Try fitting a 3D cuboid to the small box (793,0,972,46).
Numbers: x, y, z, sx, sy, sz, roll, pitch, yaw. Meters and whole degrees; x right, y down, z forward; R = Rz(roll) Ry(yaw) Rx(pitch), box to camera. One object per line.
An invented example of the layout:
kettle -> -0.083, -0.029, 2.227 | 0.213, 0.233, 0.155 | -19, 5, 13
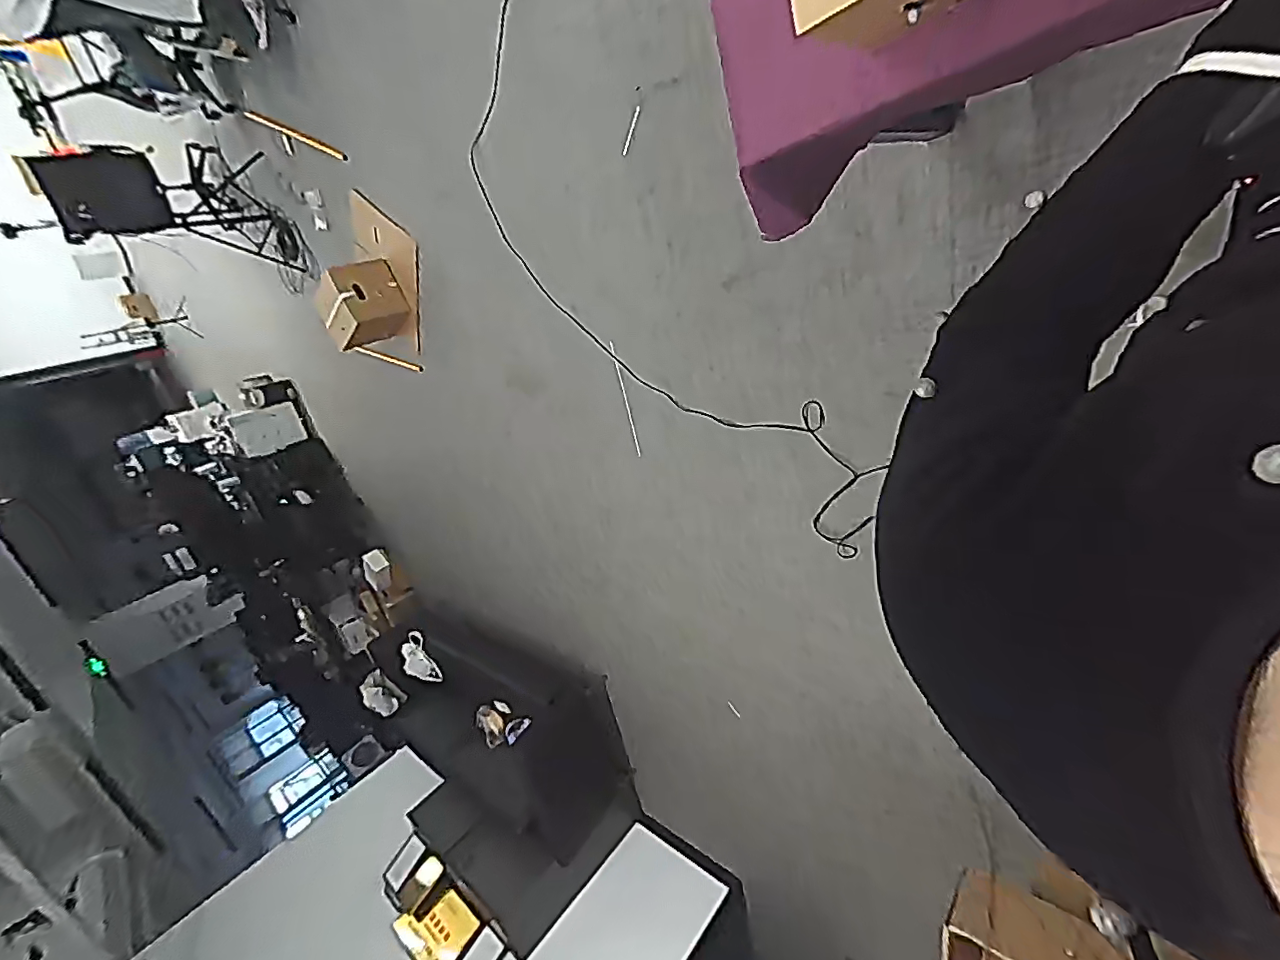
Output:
small box -> 0.240, -0.523, 0.481 | 0.168, 0.176, 0.179 | 4, 116, 44
